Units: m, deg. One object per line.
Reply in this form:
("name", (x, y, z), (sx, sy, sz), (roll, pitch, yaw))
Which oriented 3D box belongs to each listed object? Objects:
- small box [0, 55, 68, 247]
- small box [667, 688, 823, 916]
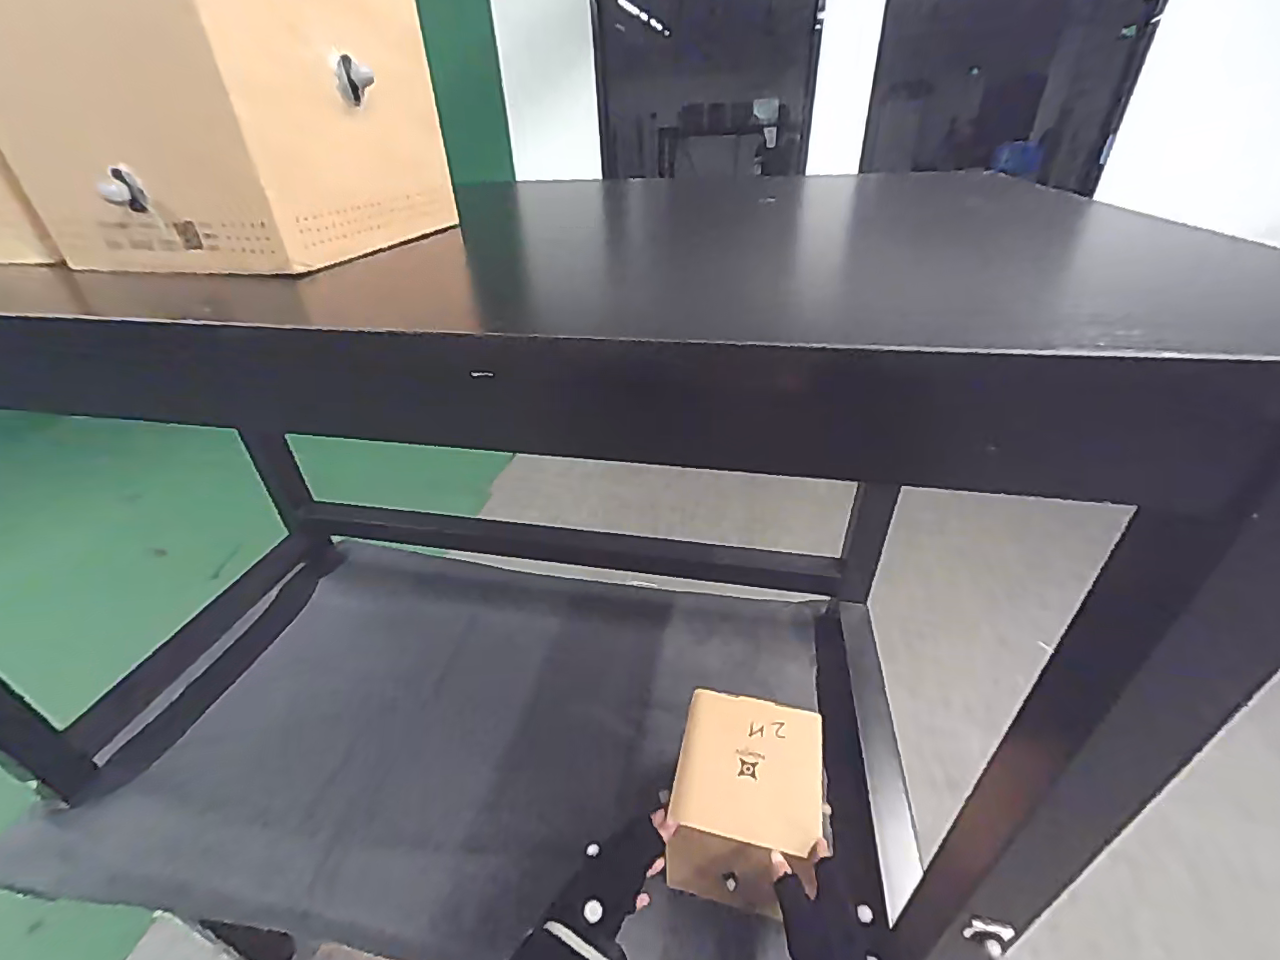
("small box", (-0.623, -0.267, 0.422), (0.168, 0.176, 0.179), (6, 35, 12))
("small box", (0.134, 0.402, 0.682), (0.168, 0.176, 0.179), (7, 34, 14))
